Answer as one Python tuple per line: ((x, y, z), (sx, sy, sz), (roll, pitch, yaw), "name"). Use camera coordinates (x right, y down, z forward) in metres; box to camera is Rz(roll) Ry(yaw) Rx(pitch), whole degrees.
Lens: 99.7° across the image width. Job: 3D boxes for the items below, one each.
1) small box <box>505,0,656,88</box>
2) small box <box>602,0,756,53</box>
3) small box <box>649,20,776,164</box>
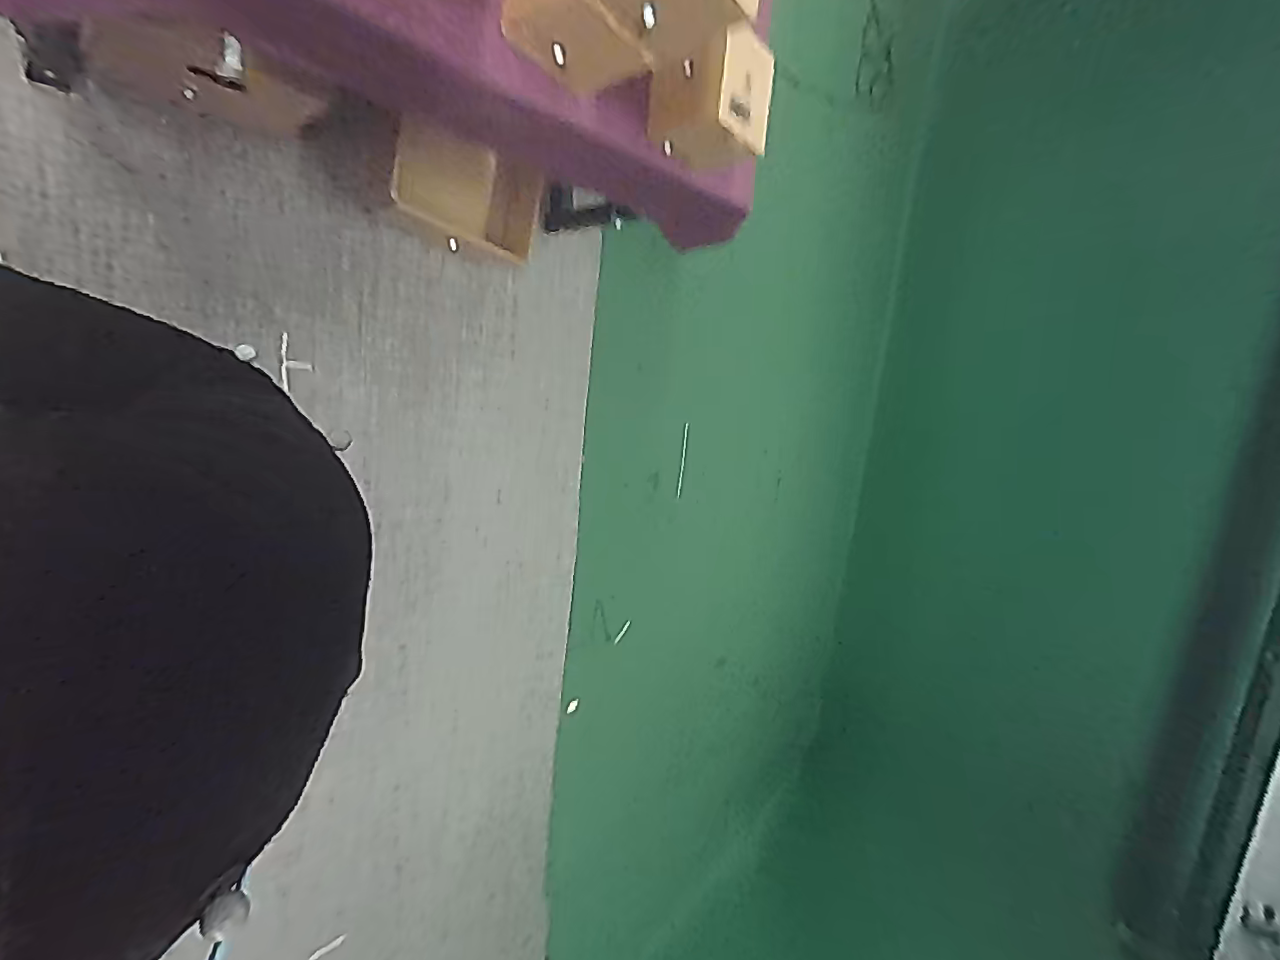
((-0.078, -0.726, 0.790), (0.168, 0.176, 0.179), (2, 99, -50), "small box")
((0.047, -0.702, 0.685), (0.168, 0.176, 0.179), (4, 98, -49), "small box")
((0.134, -0.735, 1.031), (0.168, 0.176, 0.179), (-5, 104, -49), "small box")
